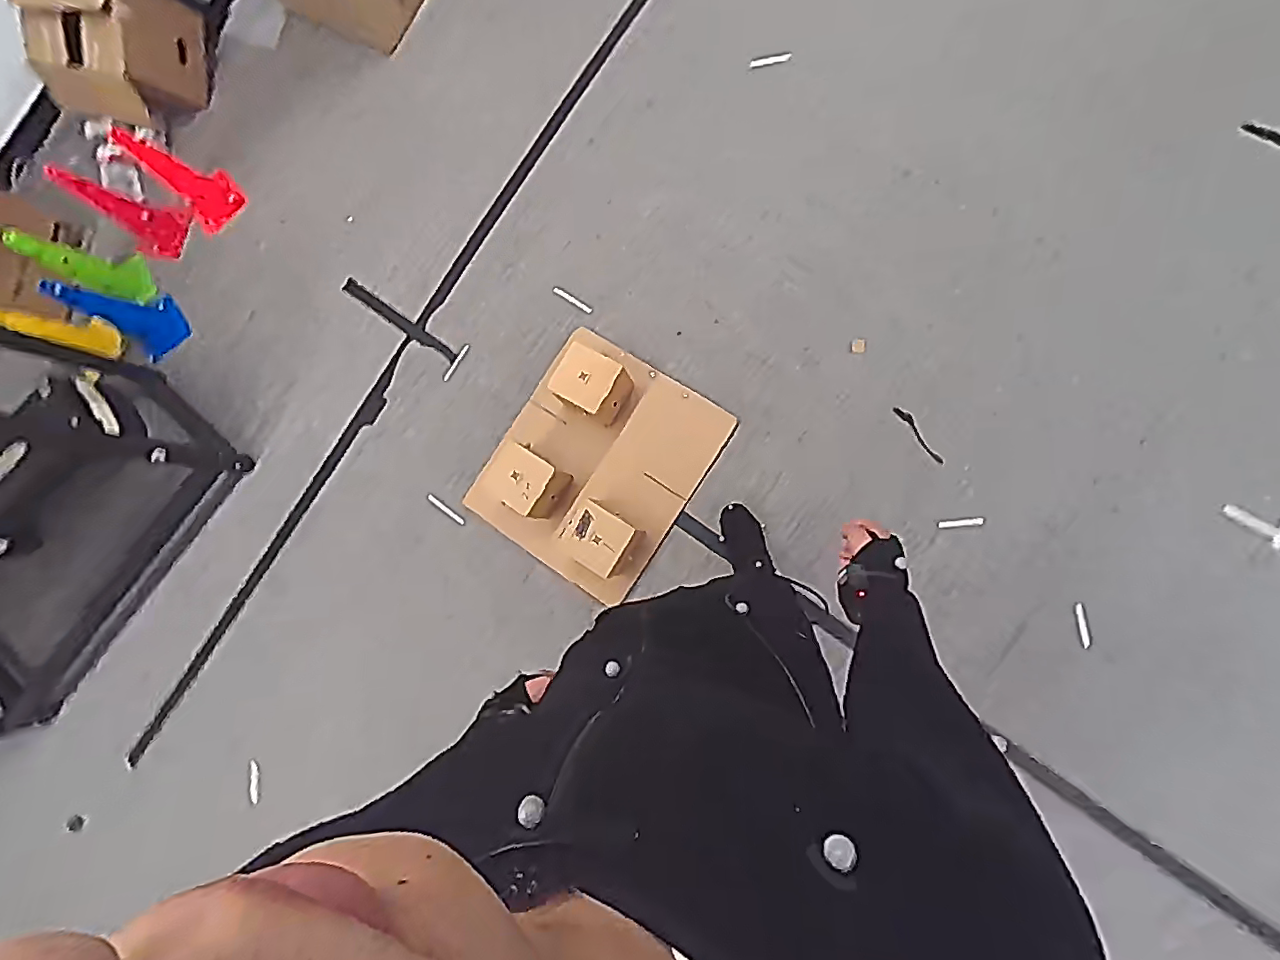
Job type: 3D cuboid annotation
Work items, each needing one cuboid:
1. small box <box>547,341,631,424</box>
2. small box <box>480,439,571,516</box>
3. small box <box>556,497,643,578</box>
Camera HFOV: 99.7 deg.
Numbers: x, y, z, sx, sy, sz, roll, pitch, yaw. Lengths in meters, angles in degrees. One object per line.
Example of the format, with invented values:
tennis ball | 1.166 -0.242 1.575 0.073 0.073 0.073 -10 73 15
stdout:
small box | -0.149 -0.287 1.634 0.179 0.176 0.168 29 89 11
small box | -0.337 0.000 1.625 0.179 0.176 0.168 32 90 10
small box | -0.112 0.167 1.572 0.179 0.176 0.168 31 90 10
